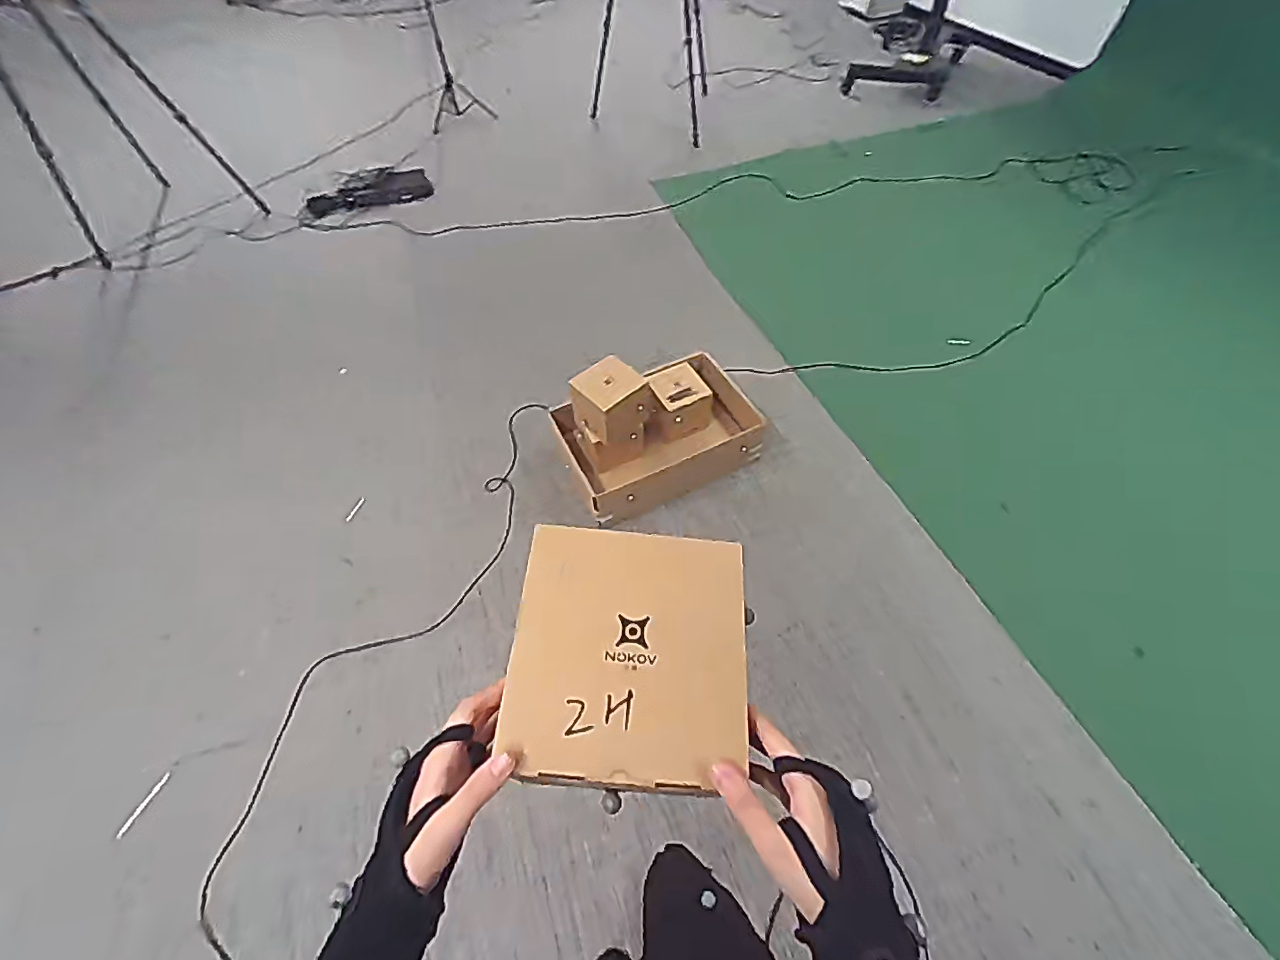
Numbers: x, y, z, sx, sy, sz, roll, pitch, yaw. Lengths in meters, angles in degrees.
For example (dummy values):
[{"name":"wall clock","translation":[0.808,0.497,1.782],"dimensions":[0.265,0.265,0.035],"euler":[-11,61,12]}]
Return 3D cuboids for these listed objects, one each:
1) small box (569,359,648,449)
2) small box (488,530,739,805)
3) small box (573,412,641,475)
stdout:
[{"name":"small box","translation":[-0.092,-0.229,1.643],"dimensions":[0.179,0.176,0.168],"euler":[-38,62,-22]},{"name":"small box","translation":[-0.015,0.164,0.456],"dimensions":[0.168,0.176,0.179],"euler":[6,59,0]},{"name":"small box","translation":[-0.103,-0.144,1.782],"dimensions":[0.179,0.176,0.168],"euler":[-22,58,-14]}]
